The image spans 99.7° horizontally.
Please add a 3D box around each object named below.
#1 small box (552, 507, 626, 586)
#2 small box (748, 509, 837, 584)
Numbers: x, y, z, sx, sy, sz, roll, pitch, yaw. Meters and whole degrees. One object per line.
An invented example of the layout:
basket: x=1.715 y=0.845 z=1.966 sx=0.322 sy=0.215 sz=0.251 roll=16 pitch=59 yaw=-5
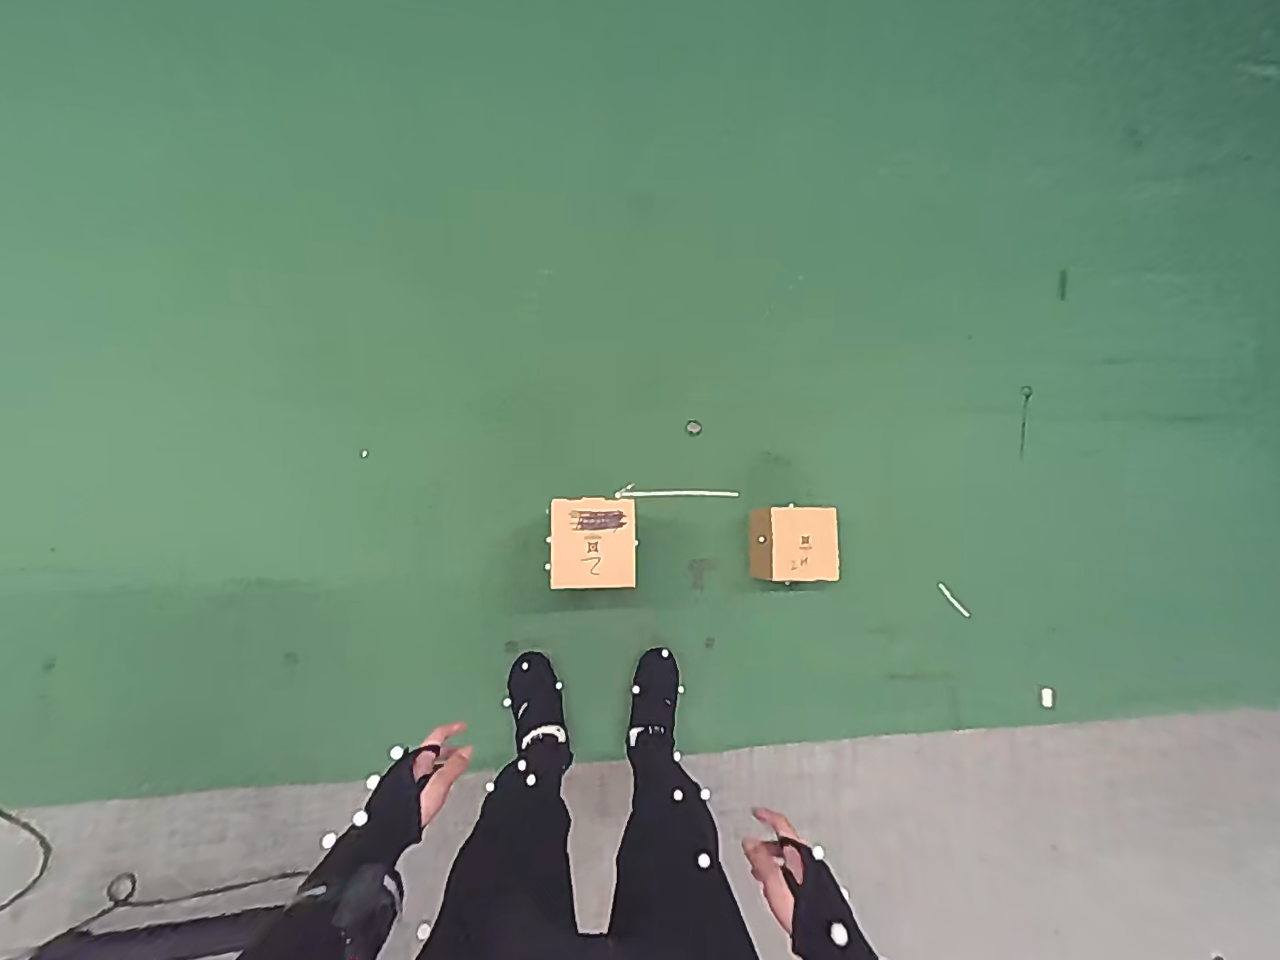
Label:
small box: x=-0.123 y=0.157 z=1.287 sx=0.168 sy=0.176 sz=0.179 roll=0 pitch=82 yaw=-8
small box: x=0.375 y=0.169 z=1.356 sx=0.168 sy=0.176 sz=0.179 roll=2 pitch=83 yaw=-8
